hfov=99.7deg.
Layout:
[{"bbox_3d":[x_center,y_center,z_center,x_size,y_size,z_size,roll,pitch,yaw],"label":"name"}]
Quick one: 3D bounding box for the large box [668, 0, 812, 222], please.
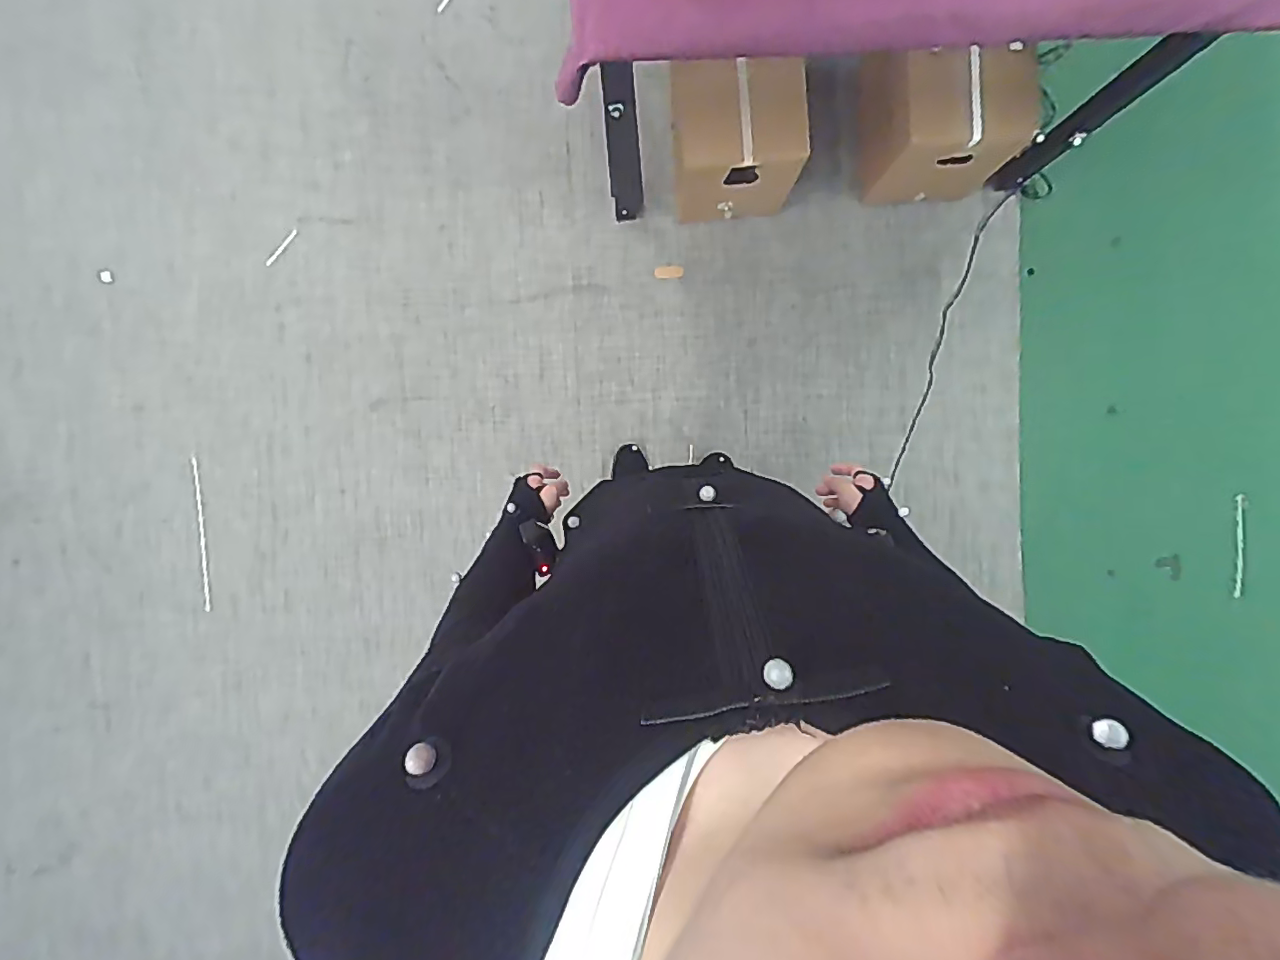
[{"bbox_3d":[0.249,-0.974,1.454,0.320,0.320,0.408,-5,91,0],"label":"large box"}]
